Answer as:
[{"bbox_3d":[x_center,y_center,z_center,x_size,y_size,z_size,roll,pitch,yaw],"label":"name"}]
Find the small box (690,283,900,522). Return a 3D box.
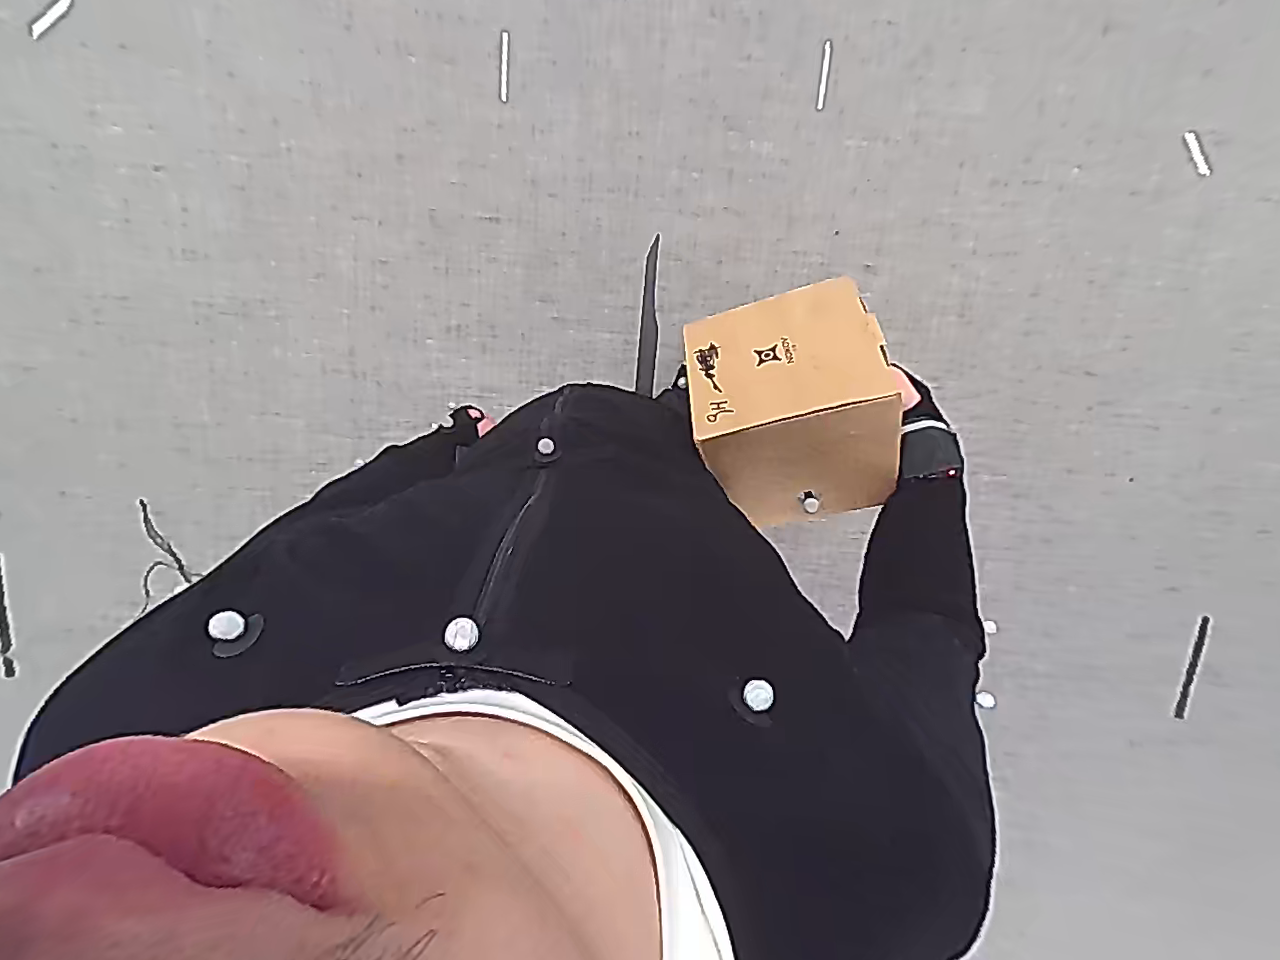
[{"bbox_3d":[0.162,-0.074,0.586,0.179,0.168,0.176,-12,141,15],"label":"small box"}]
